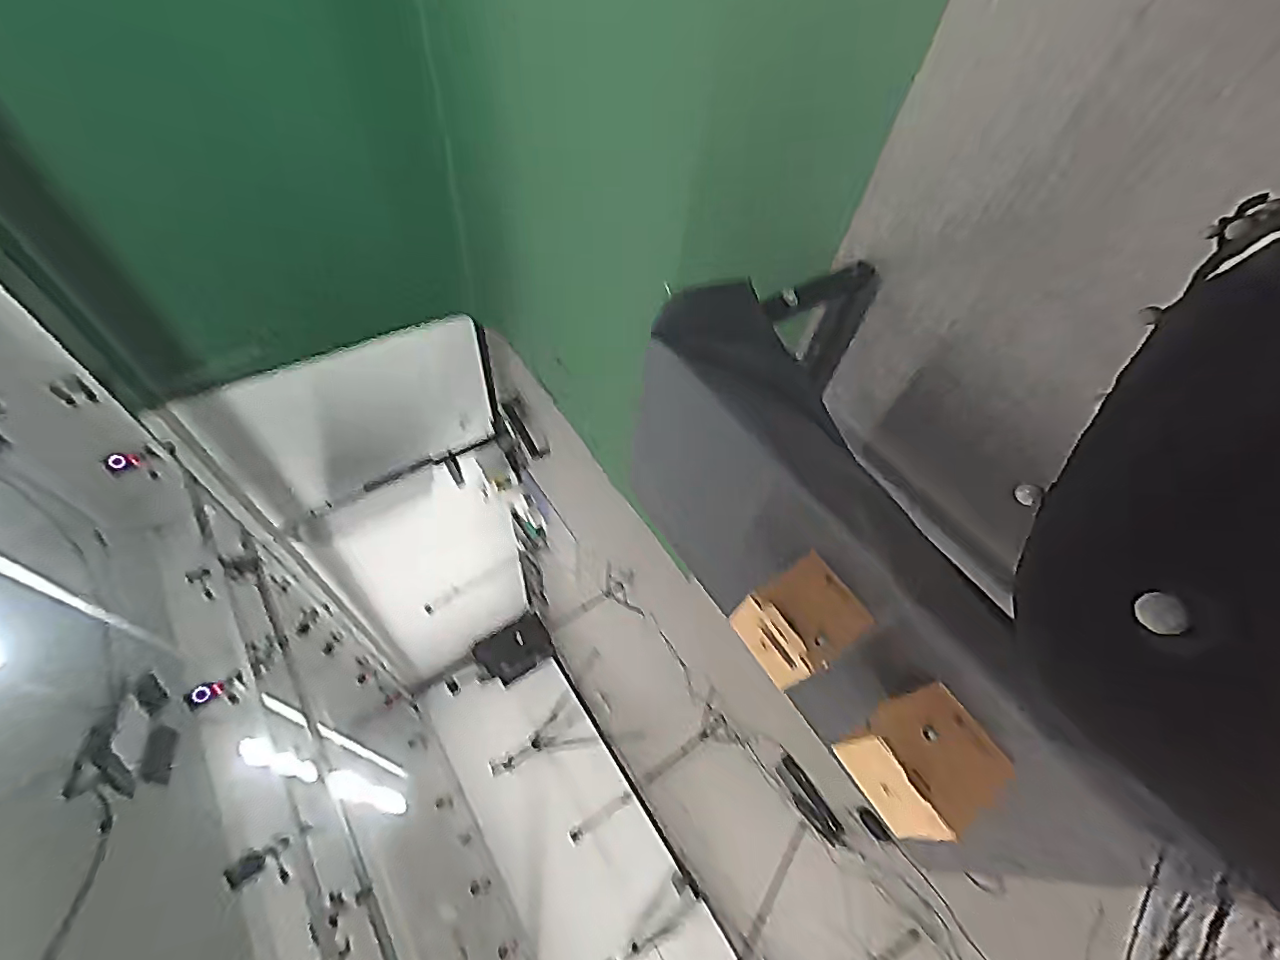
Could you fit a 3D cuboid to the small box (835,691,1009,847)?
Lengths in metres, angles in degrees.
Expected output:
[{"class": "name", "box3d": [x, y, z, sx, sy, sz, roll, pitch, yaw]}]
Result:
[{"class": "small box", "box3d": [0.478, 0.484, 0.918, 0.168, 0.176, 0.179, 54, 157, 23]}]
